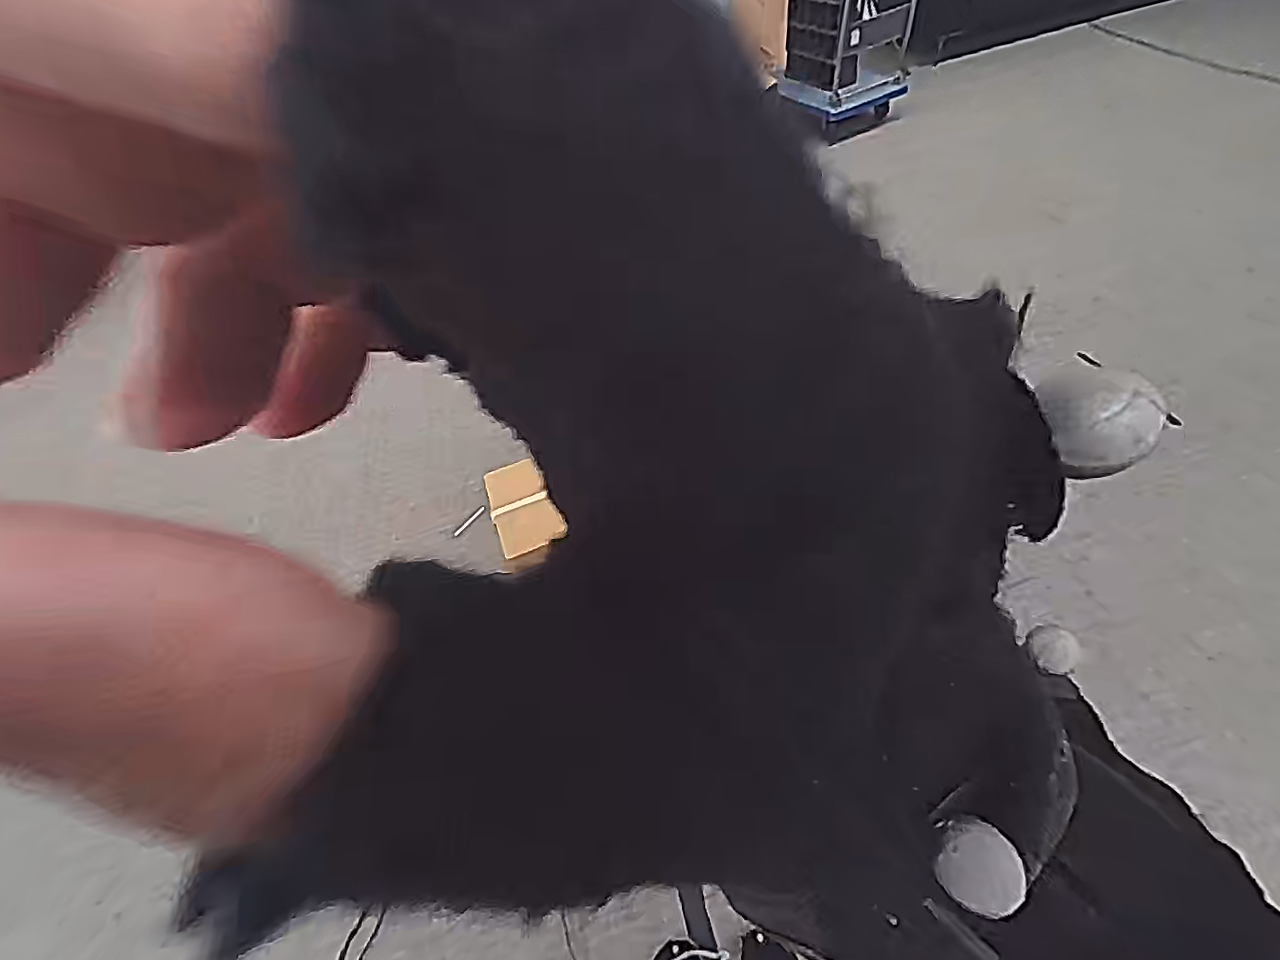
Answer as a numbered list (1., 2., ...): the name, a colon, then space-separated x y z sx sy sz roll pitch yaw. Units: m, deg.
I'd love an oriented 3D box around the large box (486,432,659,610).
1. large box: -0.193 0.123 1.607 0.408 0.320 0.320 -20 52 -8
